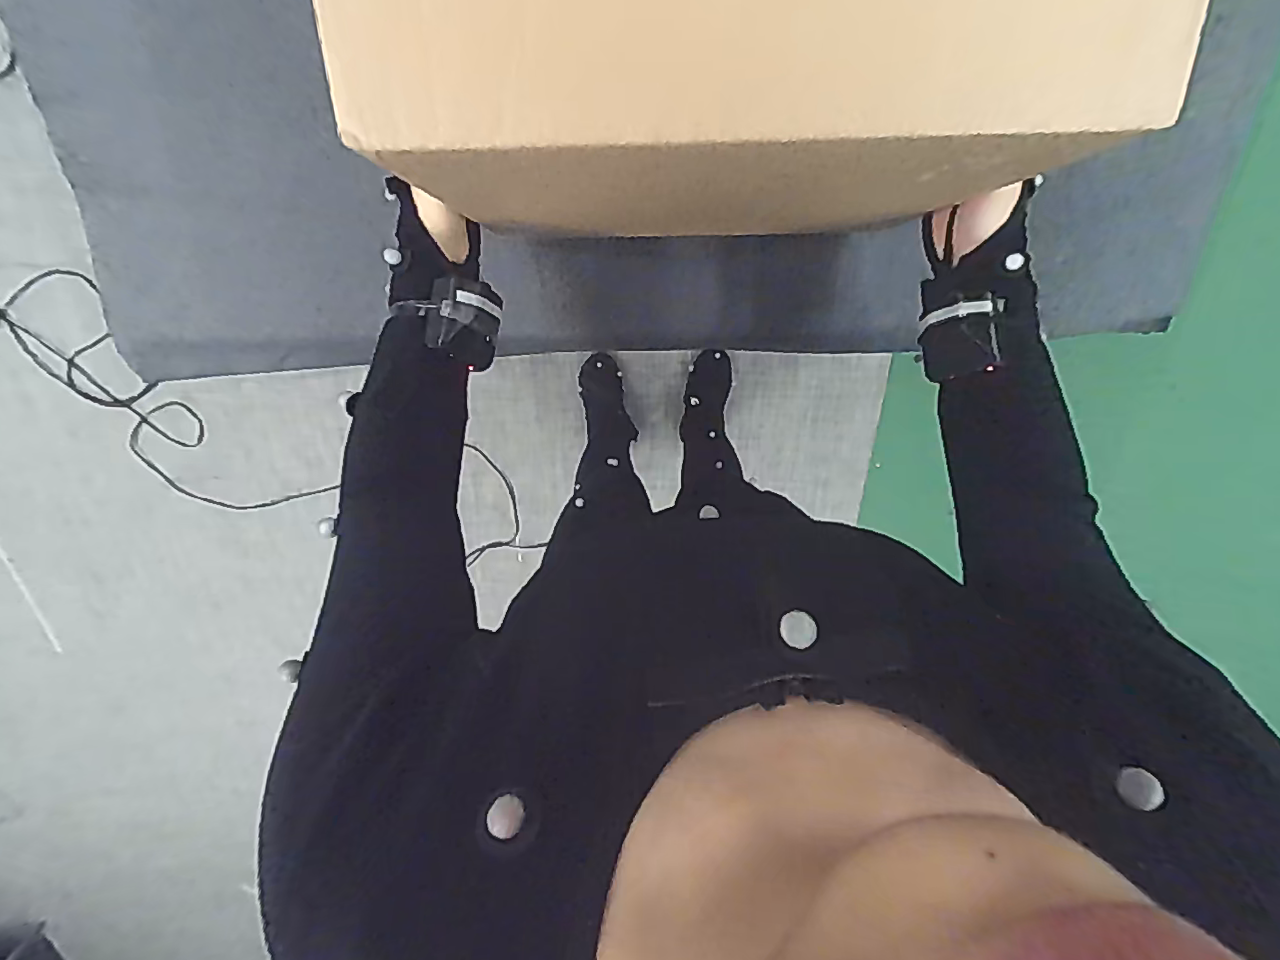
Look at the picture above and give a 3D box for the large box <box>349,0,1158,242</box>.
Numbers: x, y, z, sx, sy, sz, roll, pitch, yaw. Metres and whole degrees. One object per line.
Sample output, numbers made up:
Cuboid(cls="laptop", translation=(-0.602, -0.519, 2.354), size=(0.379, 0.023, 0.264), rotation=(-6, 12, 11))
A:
Cuboid(cls="large box", translation=(0.049, -0.363, 0.381), size=(0.408, 0.320, 0.320), rotation=(-2, 107, 0))
